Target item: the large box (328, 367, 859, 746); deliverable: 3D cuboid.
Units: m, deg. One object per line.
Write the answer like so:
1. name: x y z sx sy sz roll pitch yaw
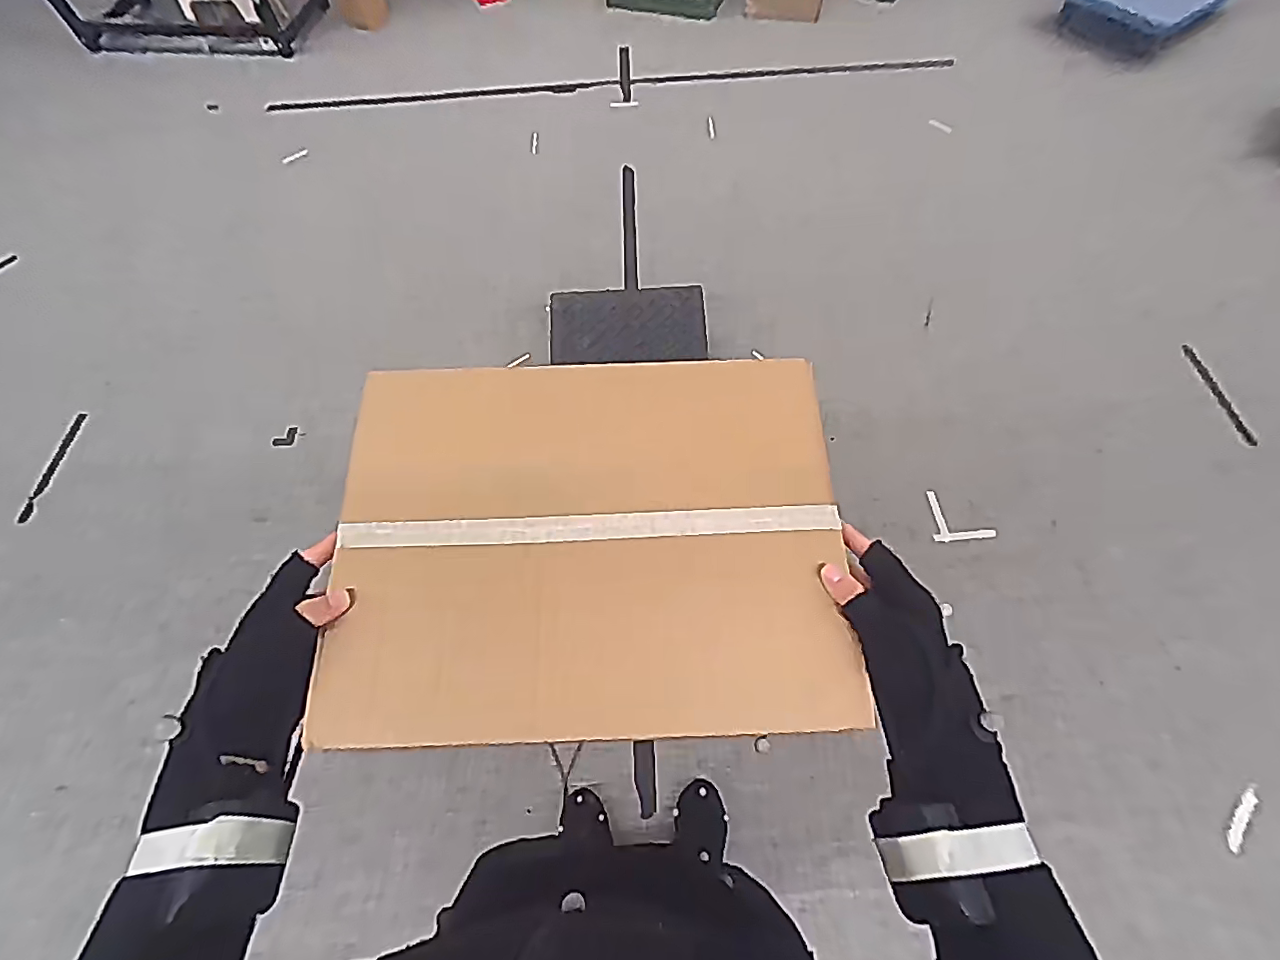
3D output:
1. large box: -0.037 0.098 0.592 0.408 0.320 0.320 -2 68 0
